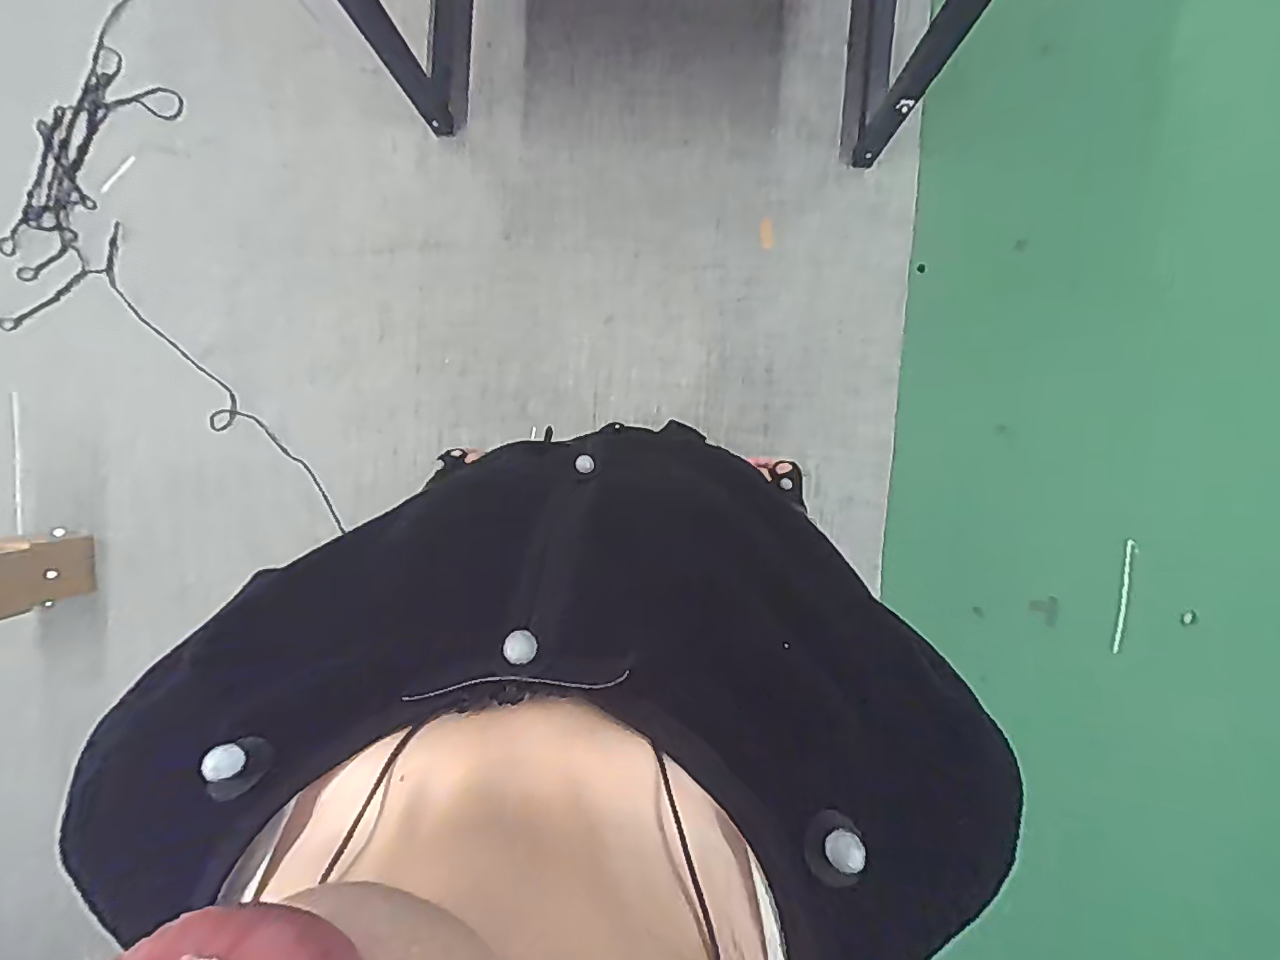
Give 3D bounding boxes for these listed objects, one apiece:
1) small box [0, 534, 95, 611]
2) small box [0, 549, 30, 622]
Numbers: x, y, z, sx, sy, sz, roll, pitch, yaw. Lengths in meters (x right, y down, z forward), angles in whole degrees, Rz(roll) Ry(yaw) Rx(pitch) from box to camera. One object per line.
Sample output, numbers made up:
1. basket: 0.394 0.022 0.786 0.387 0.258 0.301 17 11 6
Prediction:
1. small box: -1.688 0.255 1.515 0.168 0.176 0.179 2 93 2
2. small box: -1.695 0.274 1.352 0.168 0.176 0.179 3 93 1
